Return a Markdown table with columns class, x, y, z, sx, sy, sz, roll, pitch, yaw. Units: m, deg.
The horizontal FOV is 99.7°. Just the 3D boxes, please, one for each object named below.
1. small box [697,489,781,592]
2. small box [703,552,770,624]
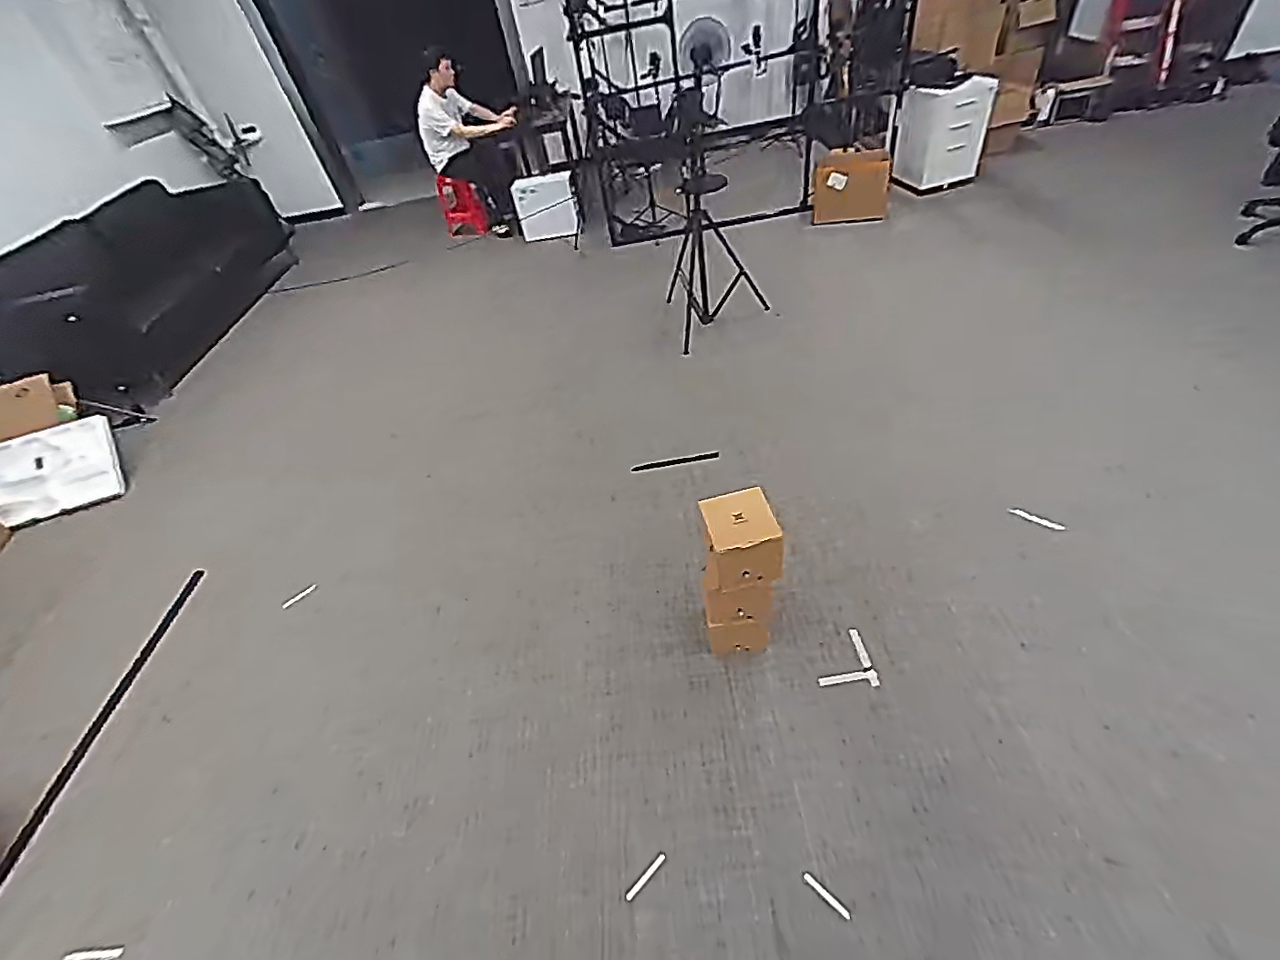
| class | x | y | z | sx | sy | sz | roll | pitch | yaw |
| --- | --- | --- | --- | --- | --- | --- | --- | --- | --- |
| small box | 0.249 | 0.156 | 1.380 | 0.168 | 0.176 | 0.179 | -14 | 44 | -2 |
| small box | 0.262 | 0.274 | 1.491 | 0.168 | 0.176 | 0.179 | -7 | 44 | 7 |
